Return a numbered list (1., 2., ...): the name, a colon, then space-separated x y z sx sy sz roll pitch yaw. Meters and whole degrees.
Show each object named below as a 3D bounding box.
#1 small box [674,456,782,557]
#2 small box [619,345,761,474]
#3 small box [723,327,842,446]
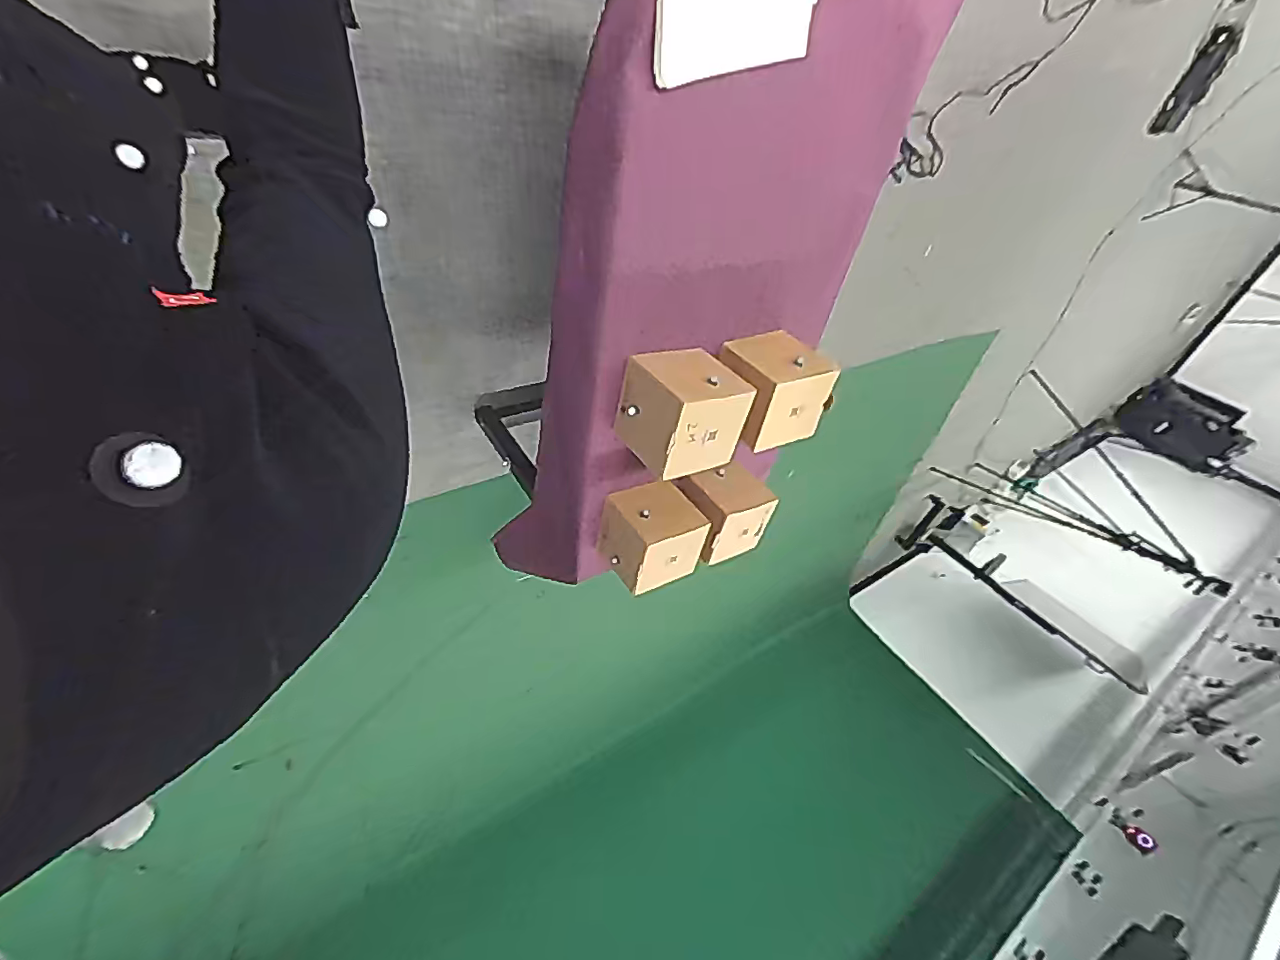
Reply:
1. small box: 0.209 0.060 1.336 0.179 0.176 0.168 -12 136 -33
2. small box: 0.087 -0.139 1.010 0.179 0.176 0.168 -14 136 -33
3. small box: 0.275 -0.201 1.126 0.179 0.176 0.168 -19 139 -29
